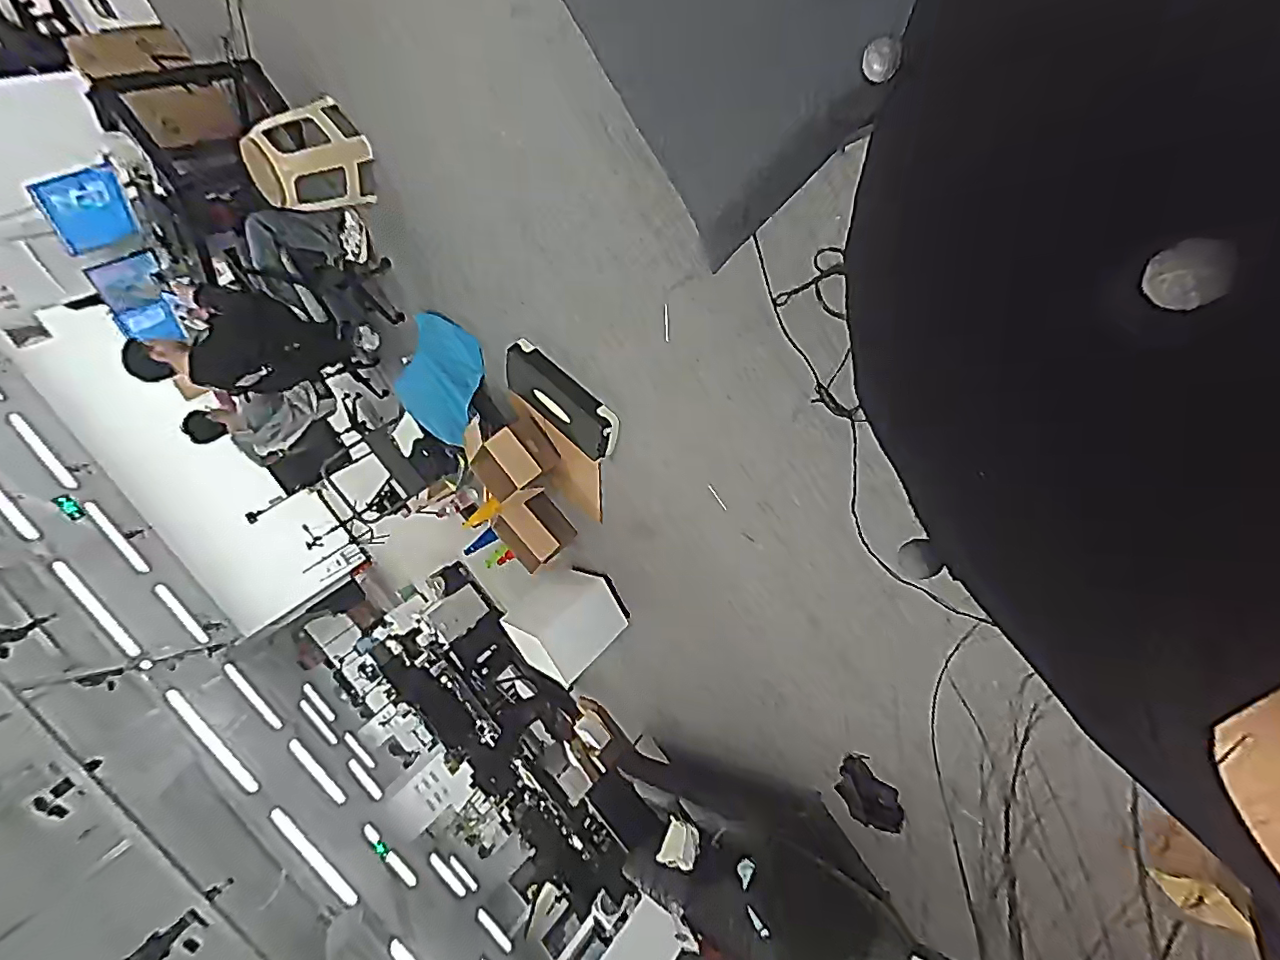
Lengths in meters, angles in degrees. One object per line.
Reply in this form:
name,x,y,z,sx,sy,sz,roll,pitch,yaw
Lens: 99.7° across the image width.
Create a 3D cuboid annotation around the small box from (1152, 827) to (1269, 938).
small box,1.628,1.136,1.545,0.179,0.176,0.168,48,150,3
